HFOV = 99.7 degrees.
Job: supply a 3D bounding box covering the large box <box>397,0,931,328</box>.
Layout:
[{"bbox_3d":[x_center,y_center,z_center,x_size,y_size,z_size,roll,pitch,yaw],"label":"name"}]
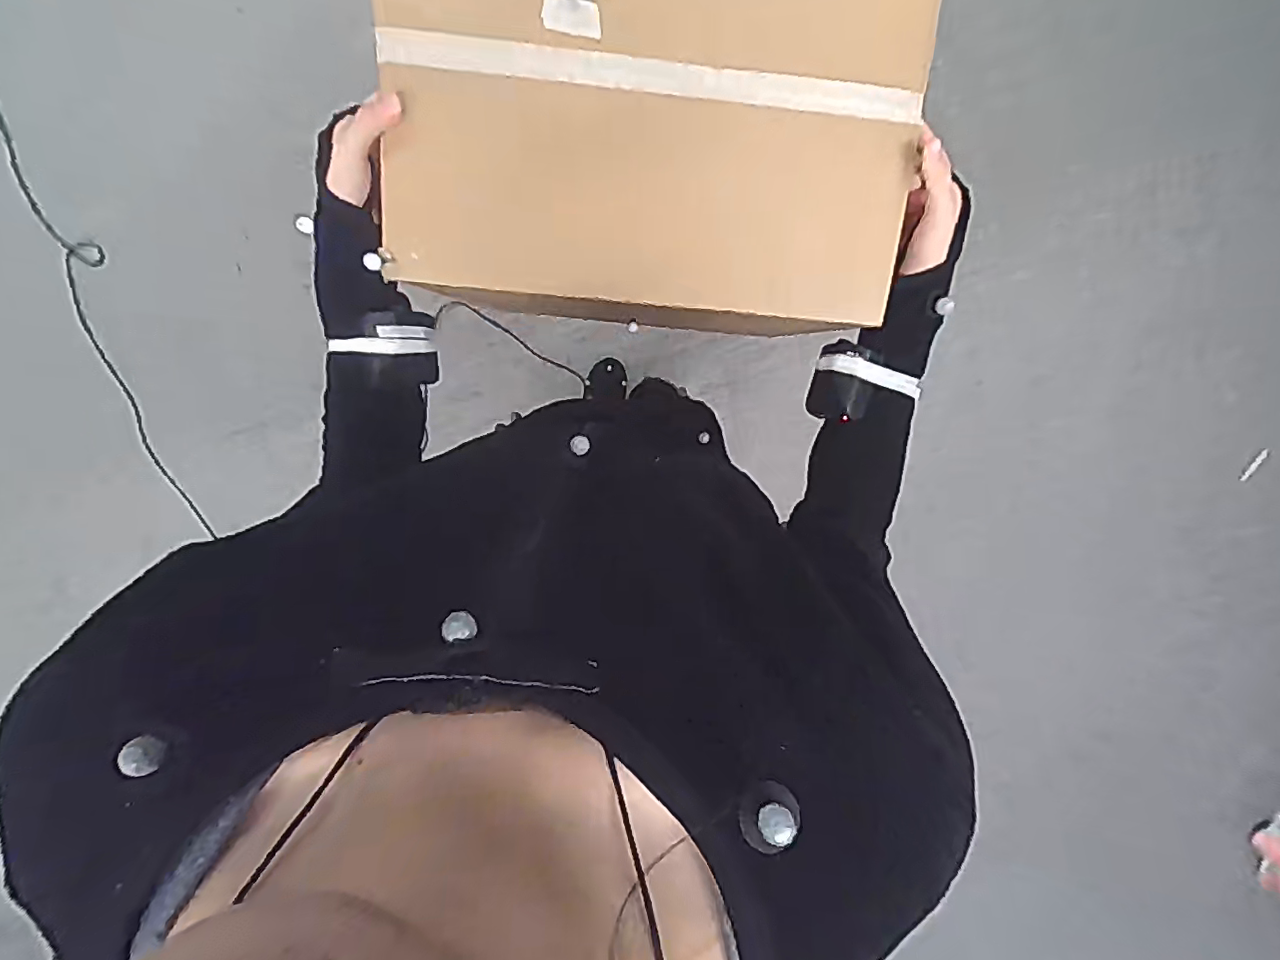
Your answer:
[{"bbox_3d":[0.011,-0.335,0.562,0.408,0.320,0.320,6,103,-4],"label":"large box"}]
